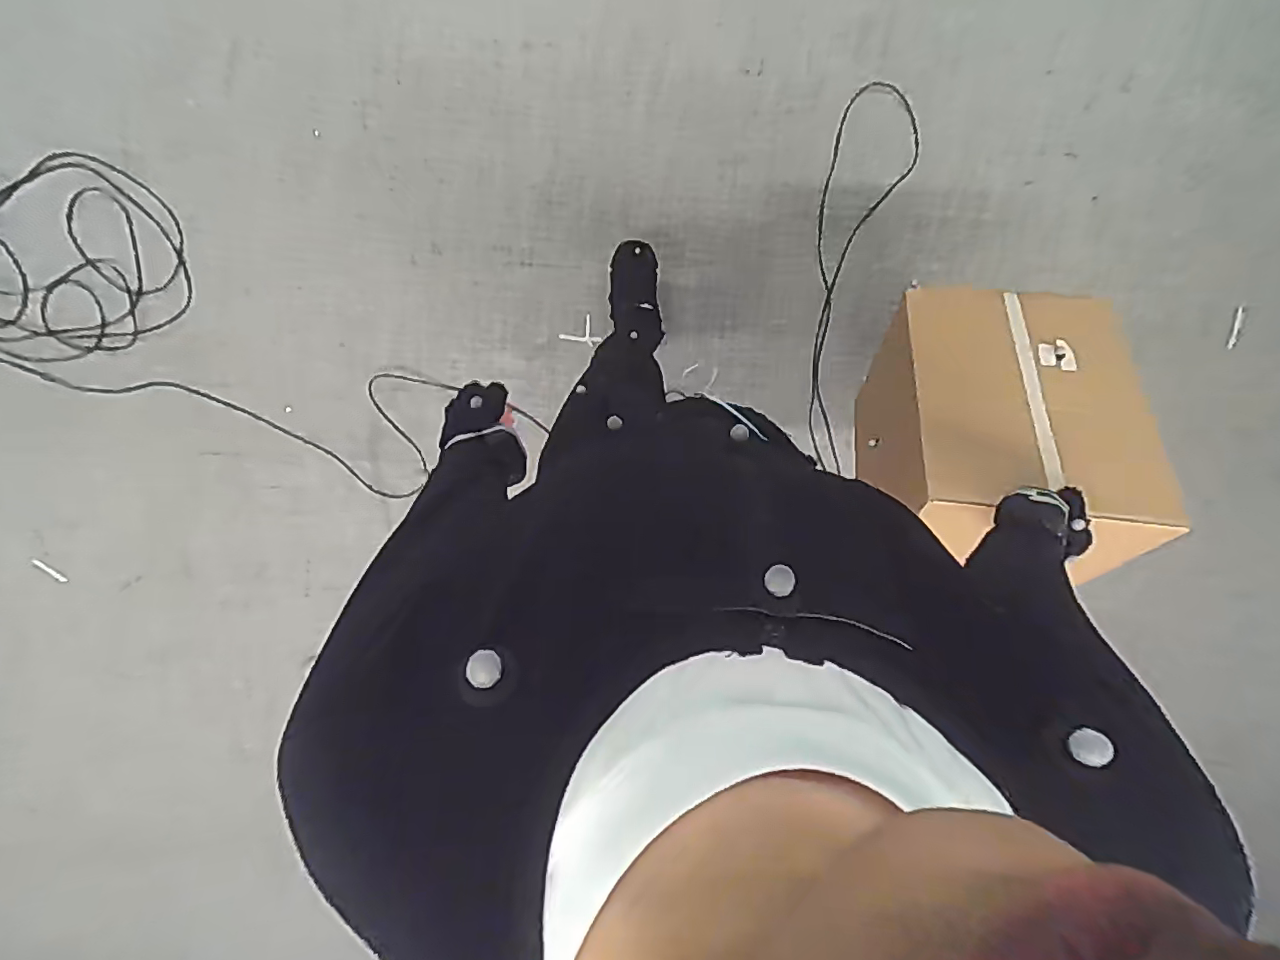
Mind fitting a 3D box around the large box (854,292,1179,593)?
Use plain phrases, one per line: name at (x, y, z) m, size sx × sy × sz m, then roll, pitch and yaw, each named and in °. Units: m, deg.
large box at (0.571, -0.057, 0.925) m, size 0.320 × 0.320 × 0.408 m, roll 7°, pitch 60°, yaw 7°
